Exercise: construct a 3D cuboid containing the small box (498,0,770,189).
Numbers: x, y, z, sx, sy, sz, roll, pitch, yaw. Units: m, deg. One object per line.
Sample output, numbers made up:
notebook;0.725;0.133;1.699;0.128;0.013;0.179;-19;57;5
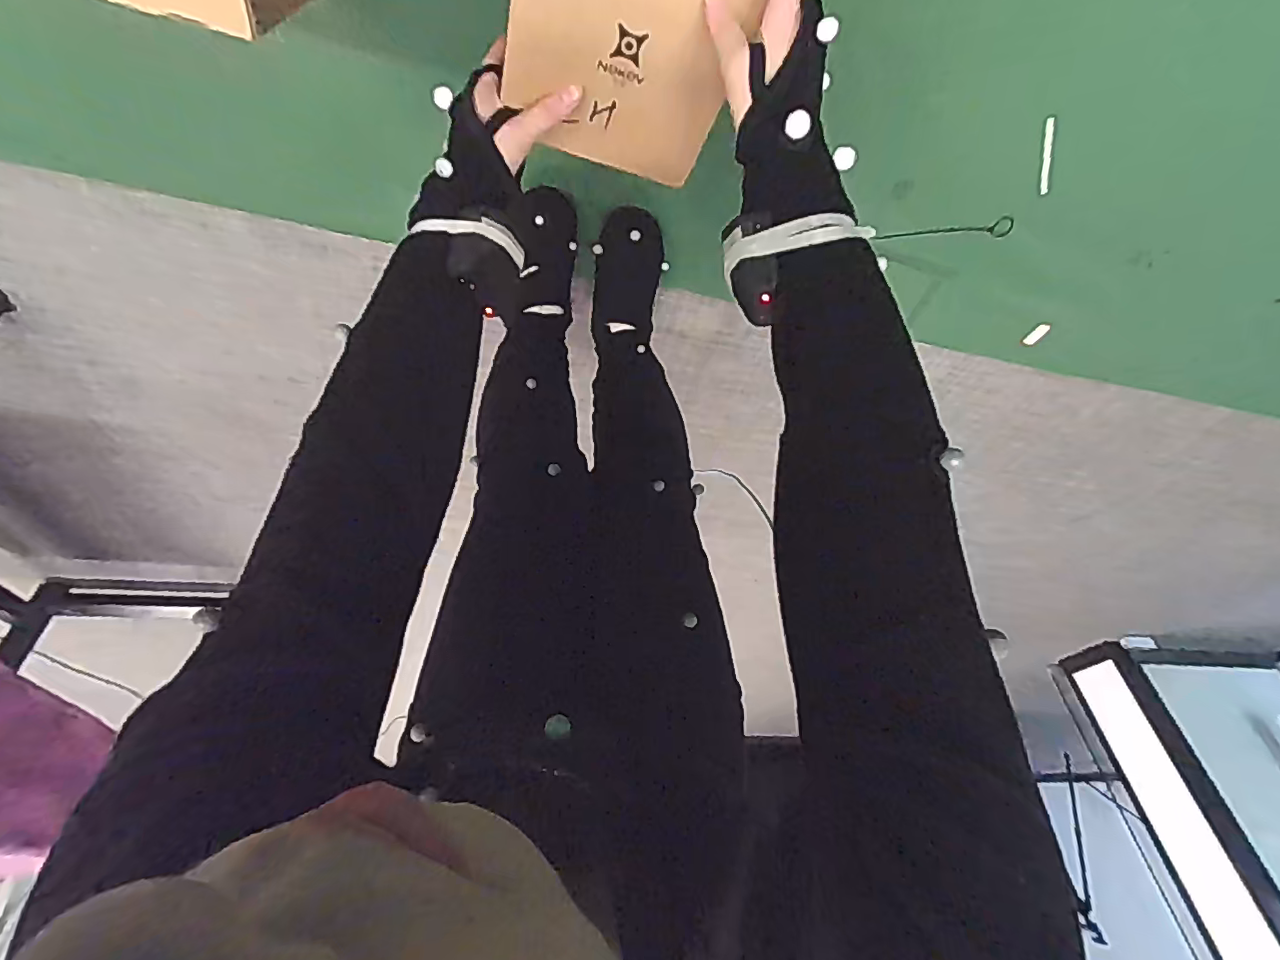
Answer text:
small box;-0.012;-0.382;0.426;0.168;0.176;0.179;9;156;-18
